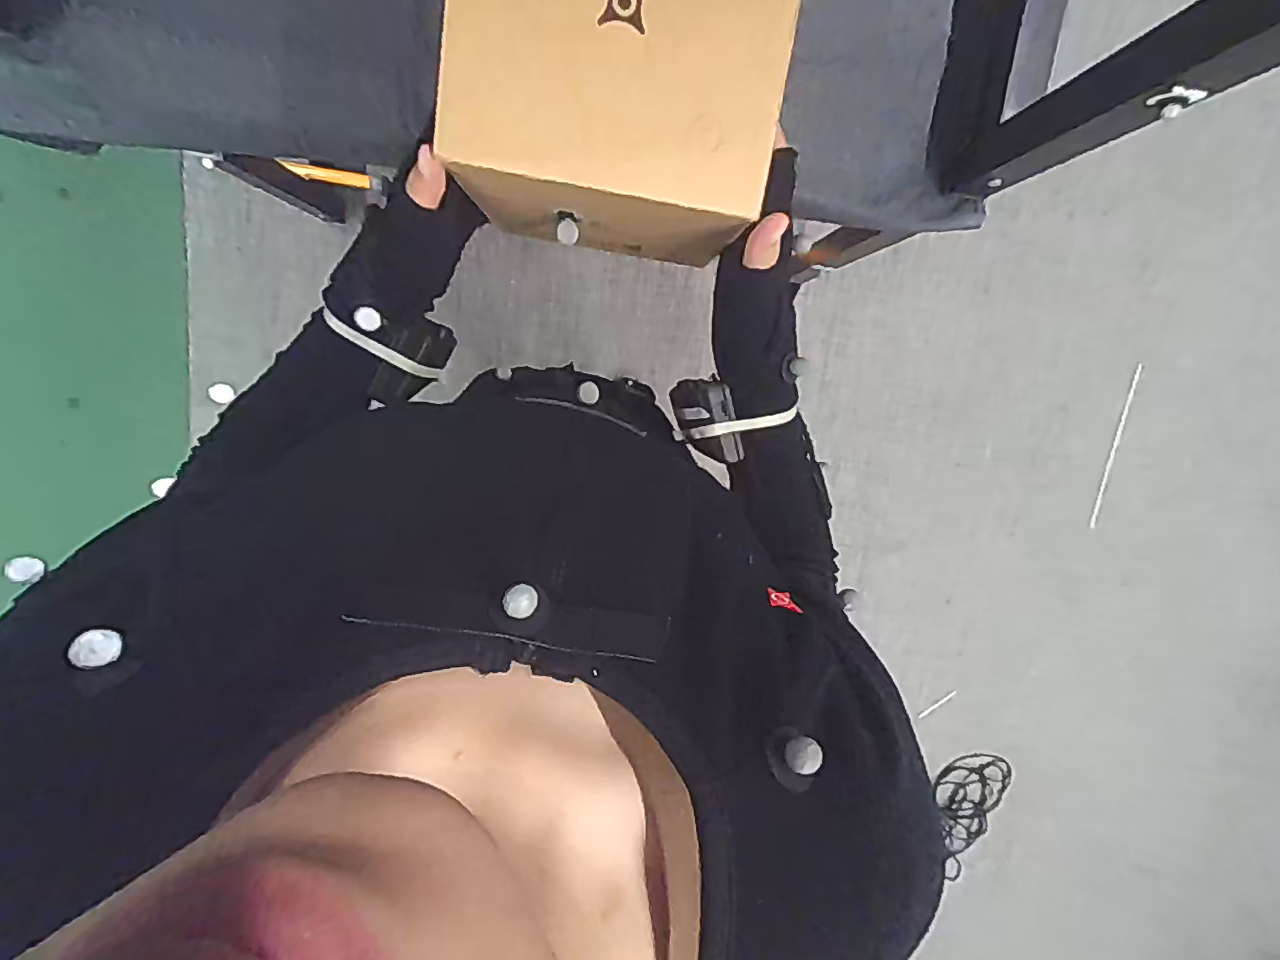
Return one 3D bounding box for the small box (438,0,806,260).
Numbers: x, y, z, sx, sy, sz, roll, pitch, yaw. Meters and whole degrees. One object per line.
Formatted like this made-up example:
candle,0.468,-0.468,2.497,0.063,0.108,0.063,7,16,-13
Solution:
small box,-0.007,-0.245,0.325,0.168,0.176,0.179,8,101,-5
